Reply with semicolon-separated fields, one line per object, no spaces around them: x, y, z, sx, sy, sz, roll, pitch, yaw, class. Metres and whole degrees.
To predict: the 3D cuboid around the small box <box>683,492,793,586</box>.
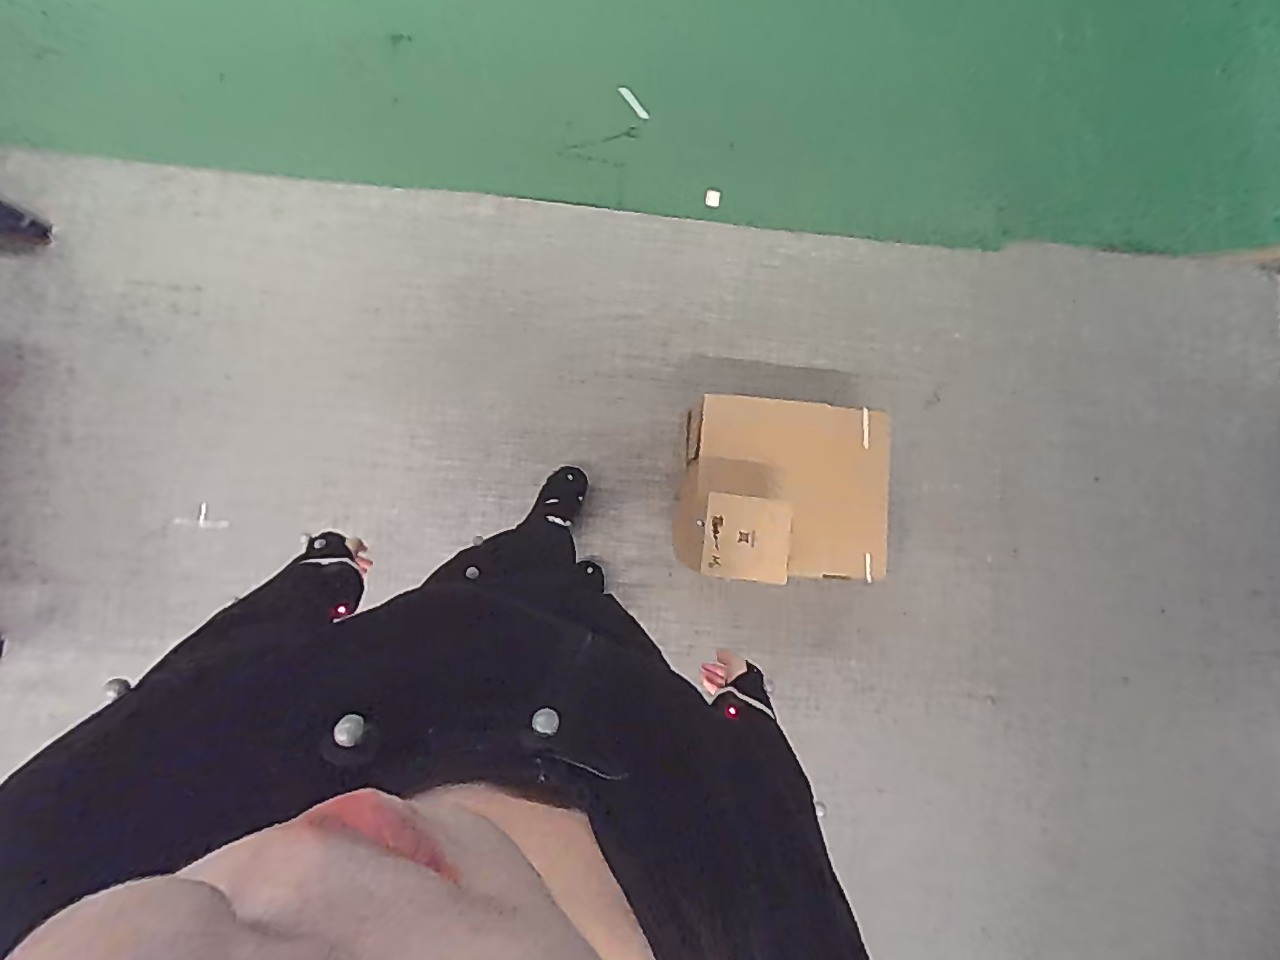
0.200;0.119;1.139;0.179;0.176;0.168;9;86;-4;small box
